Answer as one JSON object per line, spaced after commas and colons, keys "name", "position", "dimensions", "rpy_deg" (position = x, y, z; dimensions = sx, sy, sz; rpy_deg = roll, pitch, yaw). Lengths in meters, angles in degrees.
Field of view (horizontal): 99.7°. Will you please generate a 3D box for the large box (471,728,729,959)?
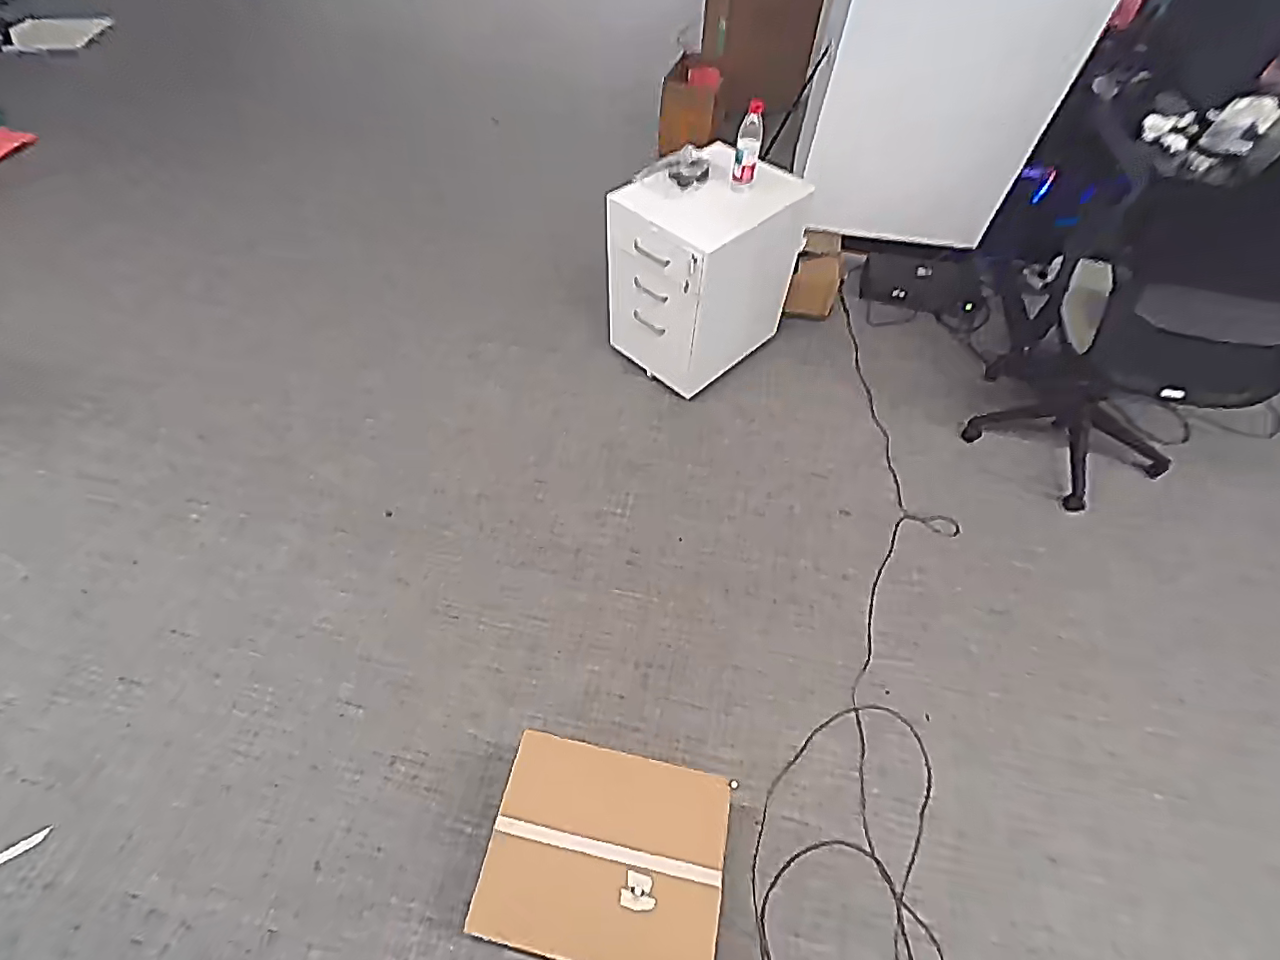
{"name": "large box", "position": [-0.062, 0.723, 1.068], "dimensions": [0.408, 0.320, 0.320], "rpy_deg": [11, 56, 5]}
